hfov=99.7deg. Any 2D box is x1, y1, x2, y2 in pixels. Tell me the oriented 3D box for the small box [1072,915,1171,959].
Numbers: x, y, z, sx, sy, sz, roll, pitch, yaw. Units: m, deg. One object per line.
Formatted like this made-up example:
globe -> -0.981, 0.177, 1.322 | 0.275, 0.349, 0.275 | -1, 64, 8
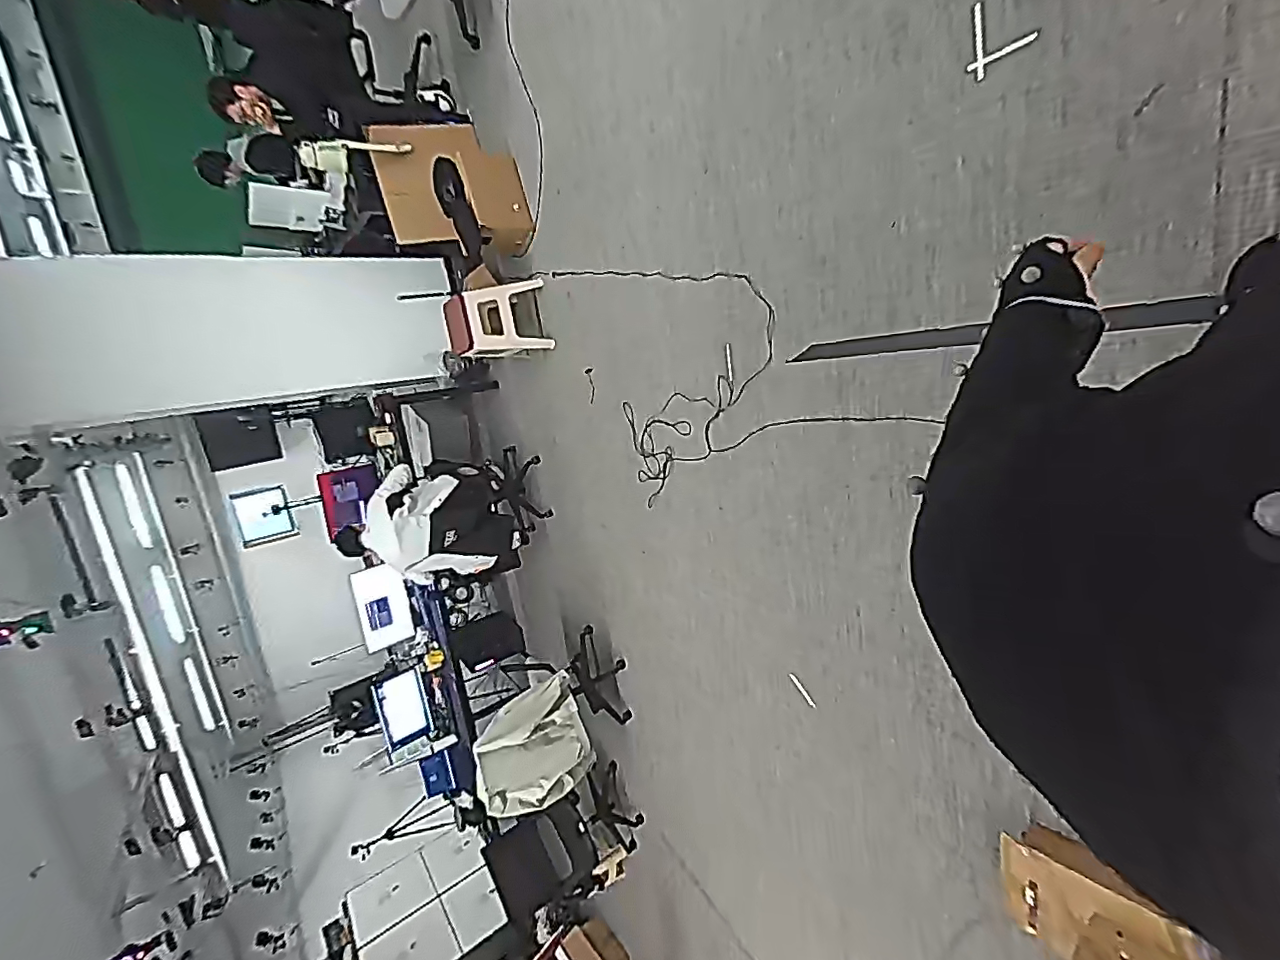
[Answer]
small box -> 1.150, 1.199, 1.279 | 0.168, 0.176, 0.179 | 4, 107, 54
